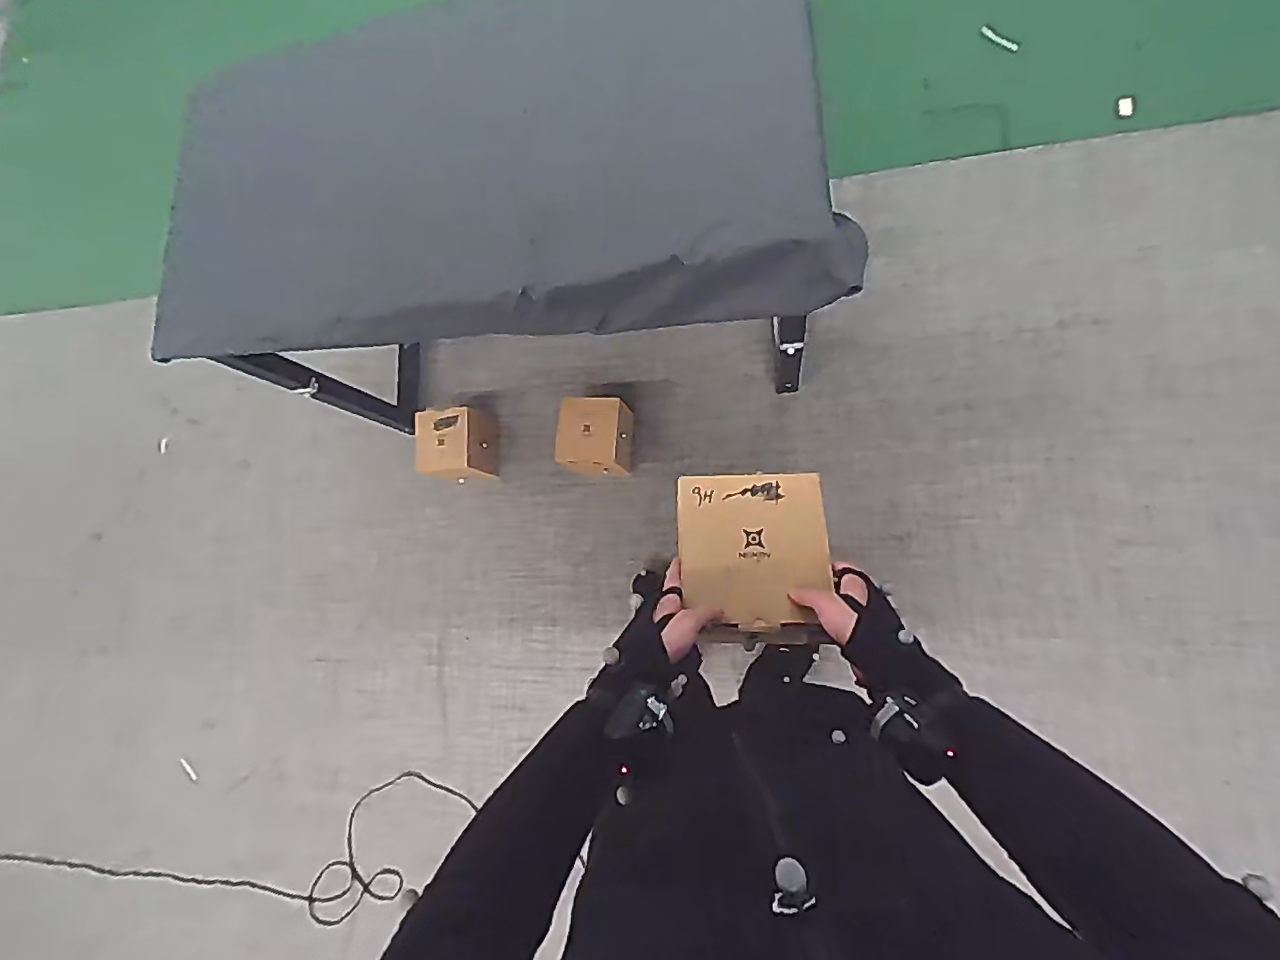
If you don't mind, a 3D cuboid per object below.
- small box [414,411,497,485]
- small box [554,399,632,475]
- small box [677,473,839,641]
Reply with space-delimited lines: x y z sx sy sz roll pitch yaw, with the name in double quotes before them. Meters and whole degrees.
"small box" -0.525 -0.087 1.556 0.168 0.176 0.179 -6 81 13
"small box" -0.121 -0.112 1.466 0.168 0.176 0.179 1 80 12
"small box" 0.131 0.103 0.664 0.168 0.176 0.179 -2 68 4
